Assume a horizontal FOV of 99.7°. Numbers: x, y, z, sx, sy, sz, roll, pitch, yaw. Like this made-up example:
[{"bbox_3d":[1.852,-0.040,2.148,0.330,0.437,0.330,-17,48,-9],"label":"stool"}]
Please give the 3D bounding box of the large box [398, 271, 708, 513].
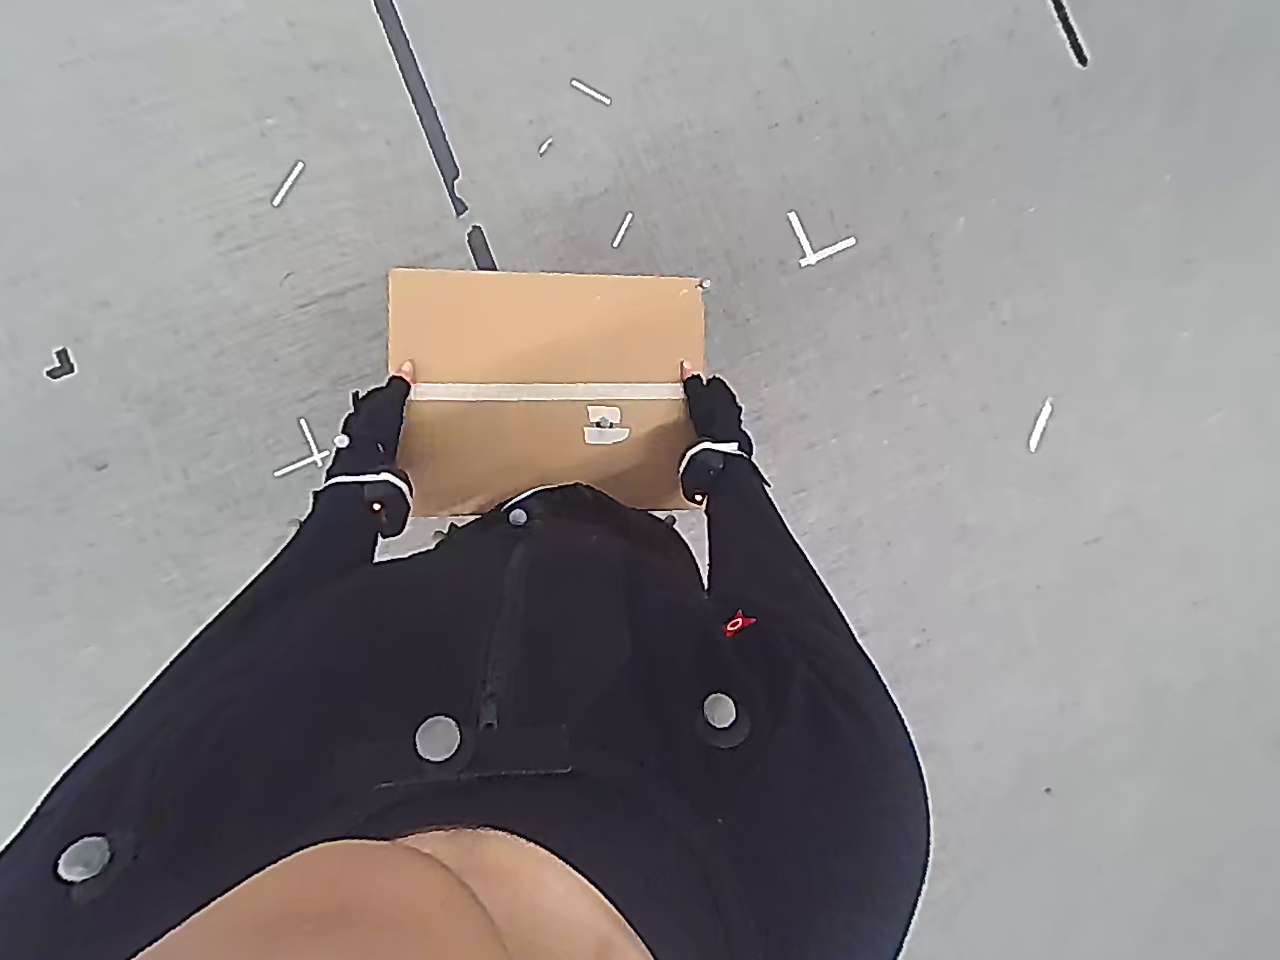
[{"bbox_3d":[-0.132,-0.112,0.858,0.408,0.320,0.320,-1,88,-9],"label":"large box"}]
